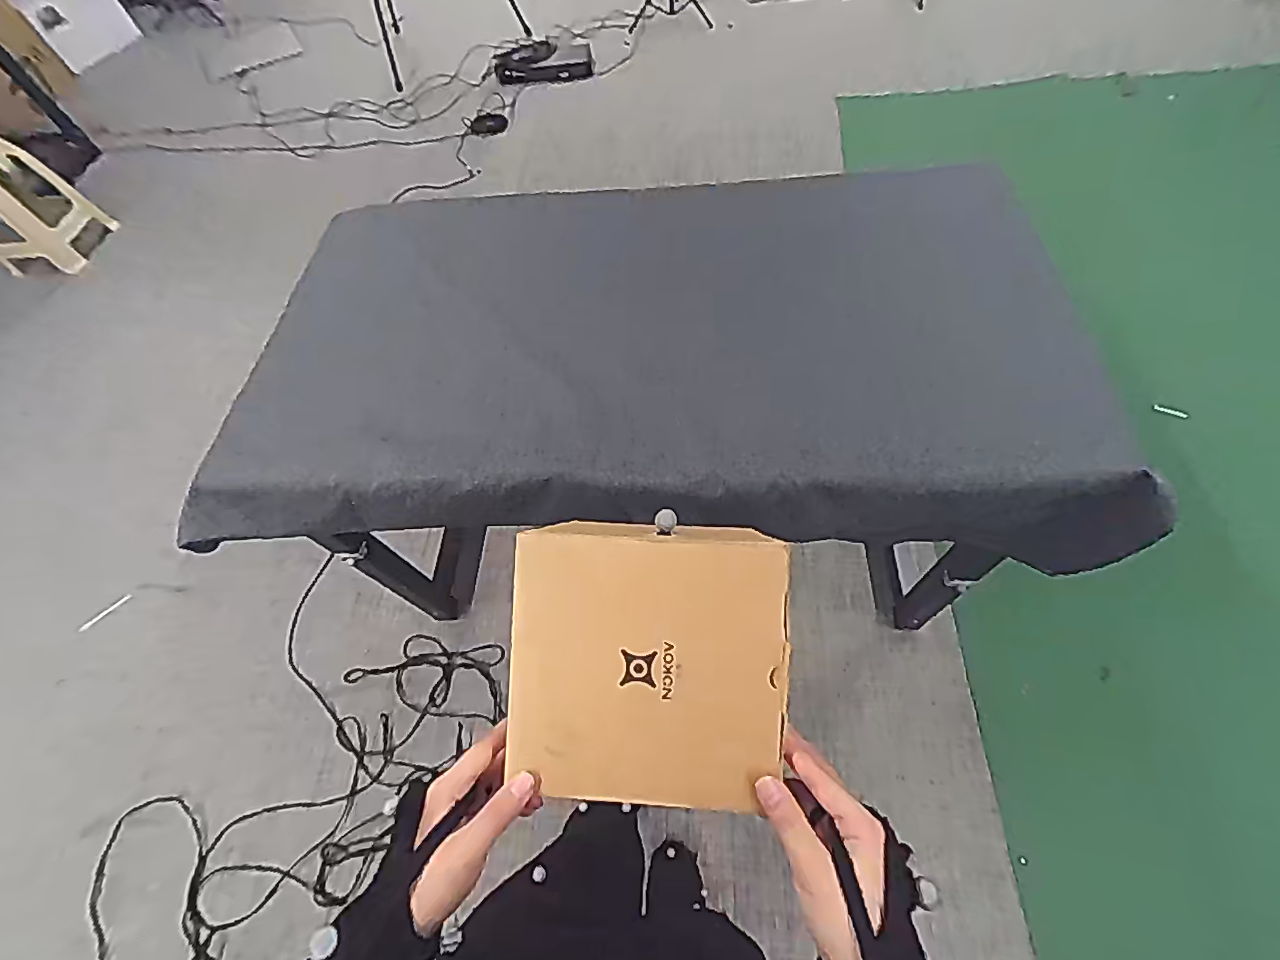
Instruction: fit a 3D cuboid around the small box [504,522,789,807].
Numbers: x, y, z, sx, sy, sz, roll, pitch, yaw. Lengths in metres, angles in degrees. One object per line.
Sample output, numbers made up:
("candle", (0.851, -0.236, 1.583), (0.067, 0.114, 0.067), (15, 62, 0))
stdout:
("small box", (0.009, 0.120, 0.420), (0.179, 0.176, 0.168), (2, 87, 3))
